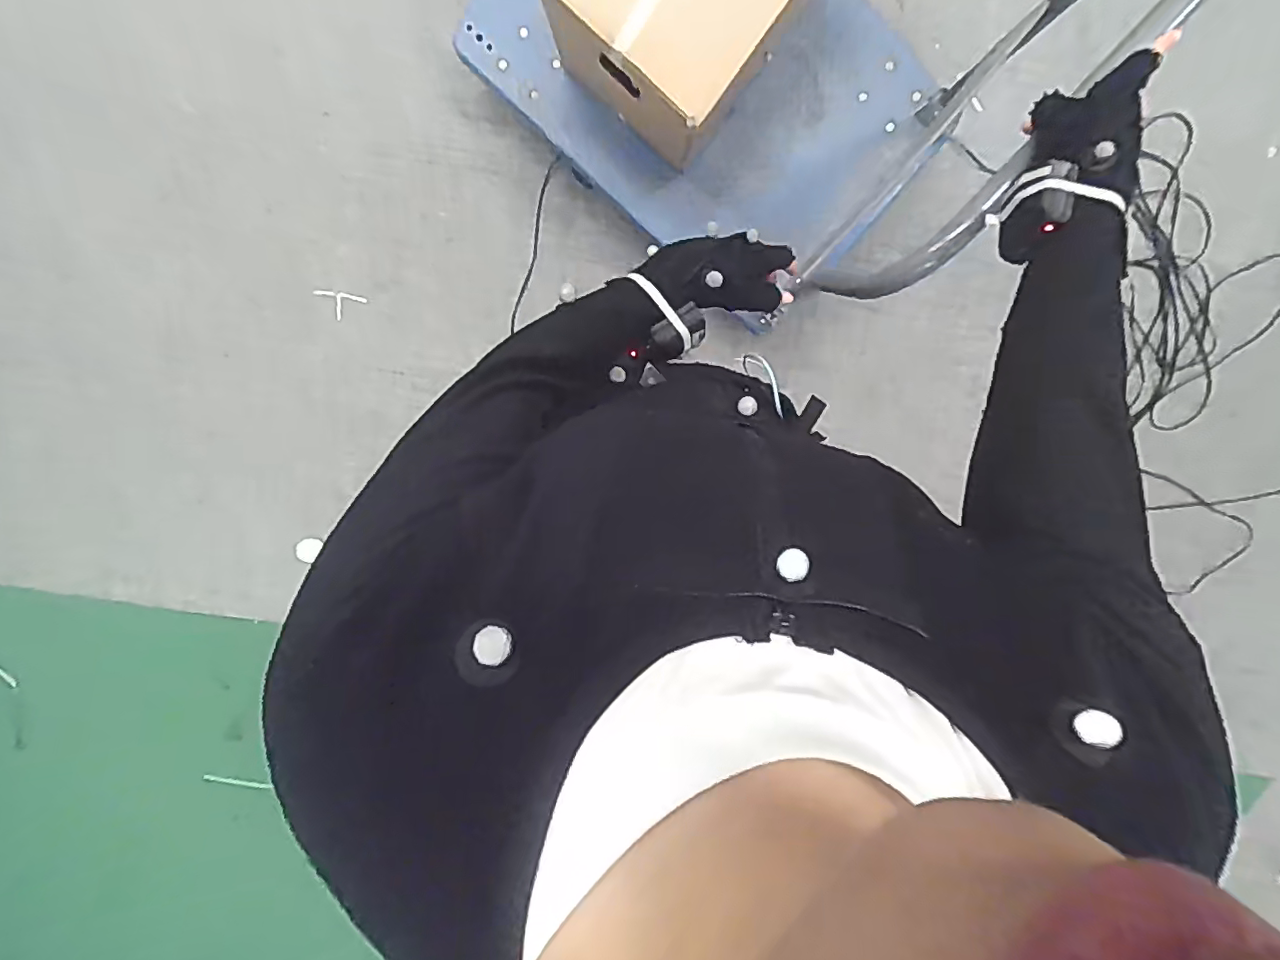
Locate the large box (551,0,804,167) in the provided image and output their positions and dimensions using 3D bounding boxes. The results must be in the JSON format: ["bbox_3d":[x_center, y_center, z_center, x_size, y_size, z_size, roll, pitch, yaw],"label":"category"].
[{"bbox_3d":[0.097,-0.833,0.903,0.320,0.320,0.408,37,105,-11],"label":"large box"}]
